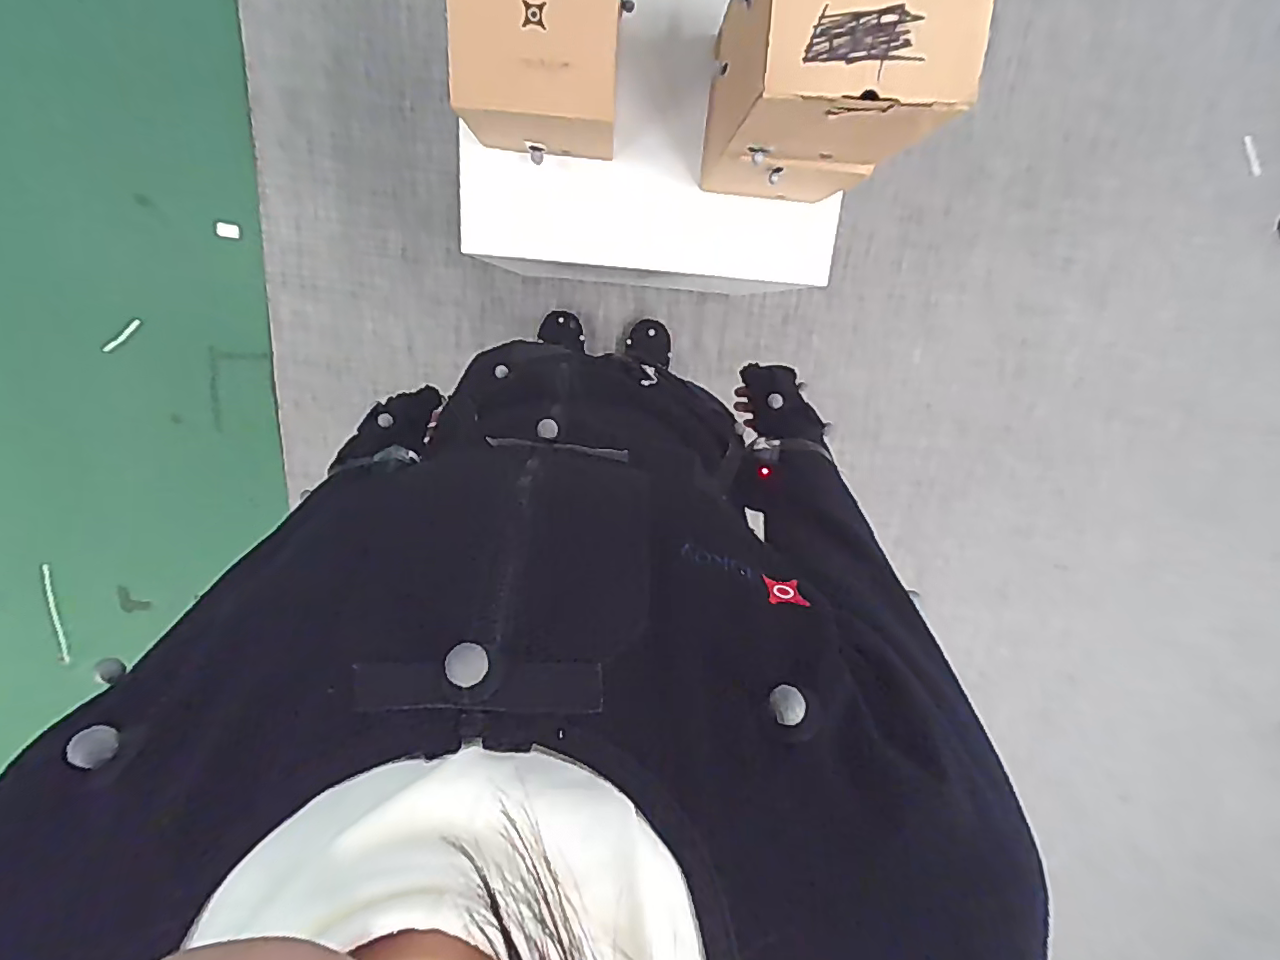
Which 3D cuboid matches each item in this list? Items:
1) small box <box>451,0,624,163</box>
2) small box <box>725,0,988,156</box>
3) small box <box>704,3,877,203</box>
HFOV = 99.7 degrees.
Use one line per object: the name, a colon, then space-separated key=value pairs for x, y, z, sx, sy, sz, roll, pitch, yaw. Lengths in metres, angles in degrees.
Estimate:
small box: x=-0.103 y=-0.475 z=0.599 sx=0.168 sy=0.176 sz=0.179 roll=2 pitch=109 yaw=-2
small box: x=0.171 y=-0.394 z=0.460 sx=0.168 sy=0.176 sz=0.179 roll=1 pitch=107 yaw=-2
small box: x=0.171 y=-0.437 z=0.619 sx=0.168 sy=0.176 sz=0.179 roll=4 pitch=107 yaw=-2
